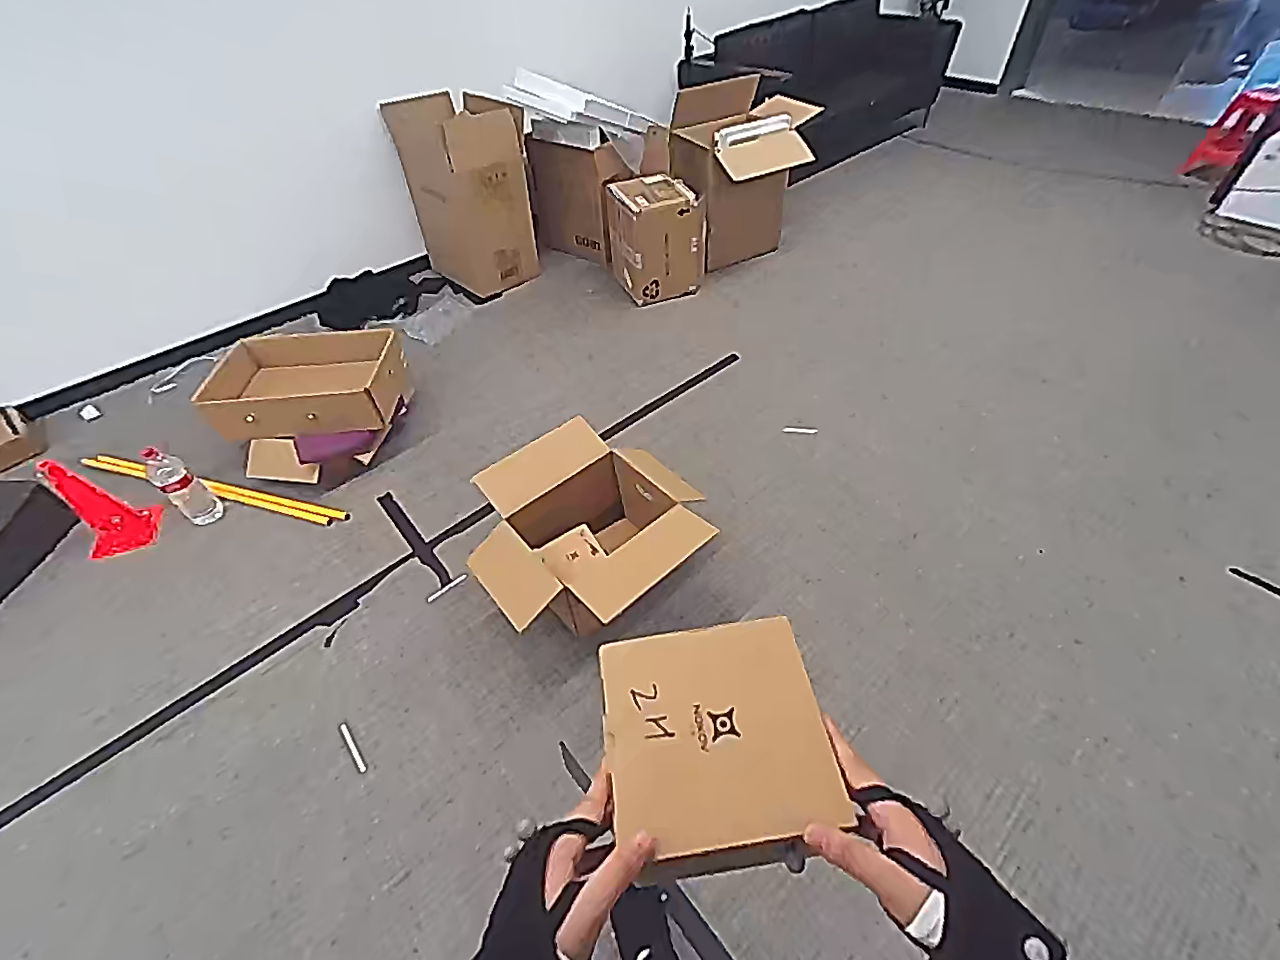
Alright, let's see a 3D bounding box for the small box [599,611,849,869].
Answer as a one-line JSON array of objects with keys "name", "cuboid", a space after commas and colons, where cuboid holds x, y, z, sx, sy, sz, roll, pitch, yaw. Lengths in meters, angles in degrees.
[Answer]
[{"name": "small box", "cuboid": [0.064, 0.244, 0.501, 0.179, 0.176, 0.168, -10, 49, 0]}]
